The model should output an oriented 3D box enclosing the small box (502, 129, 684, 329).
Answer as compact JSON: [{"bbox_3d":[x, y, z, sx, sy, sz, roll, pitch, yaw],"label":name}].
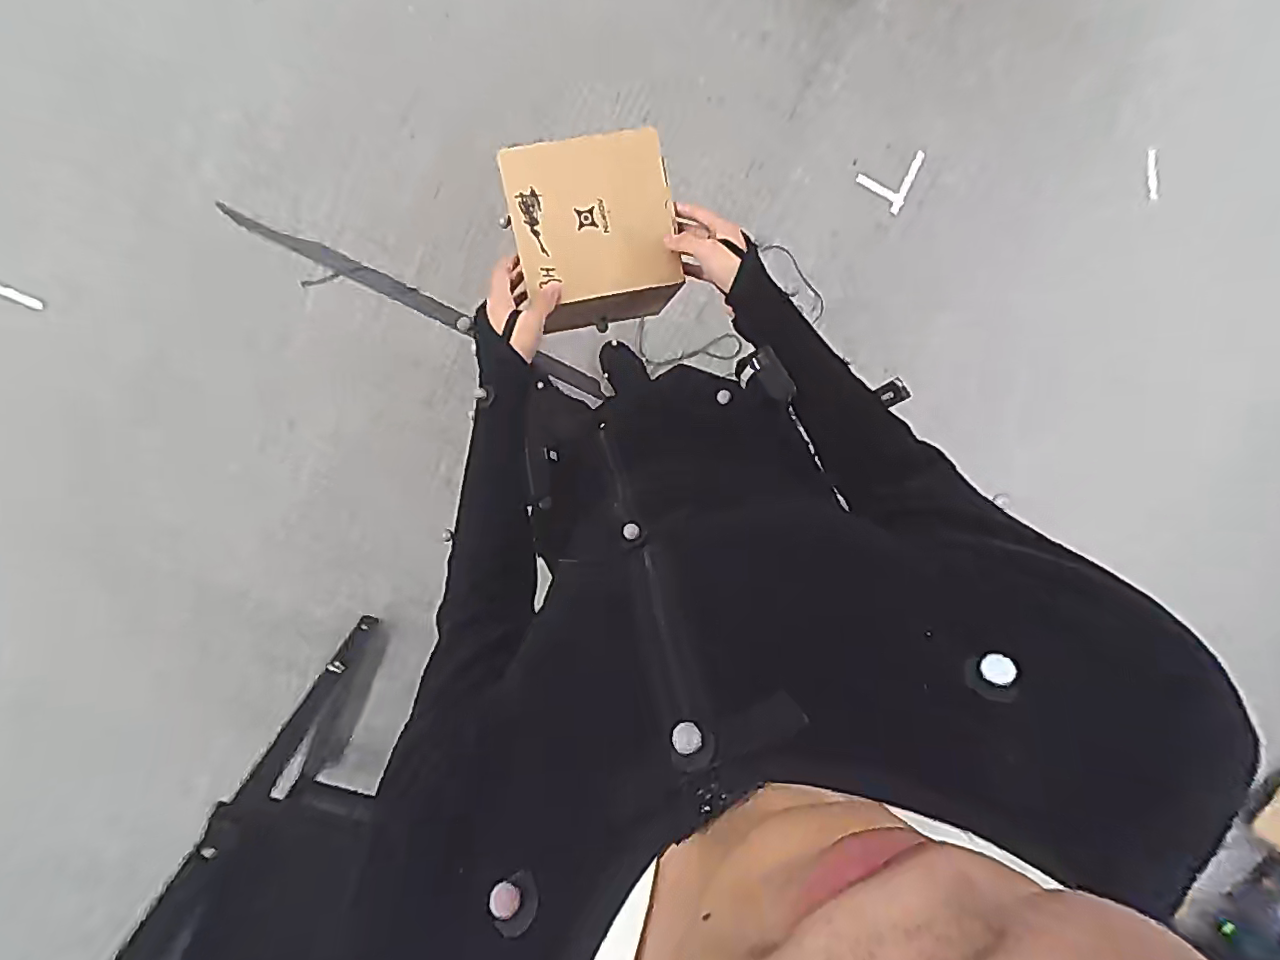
[{"bbox_3d":[-0.060,-0.289,0.654,0.179,0.176,0.168,-11,96,-8],"label":"small box"}]
